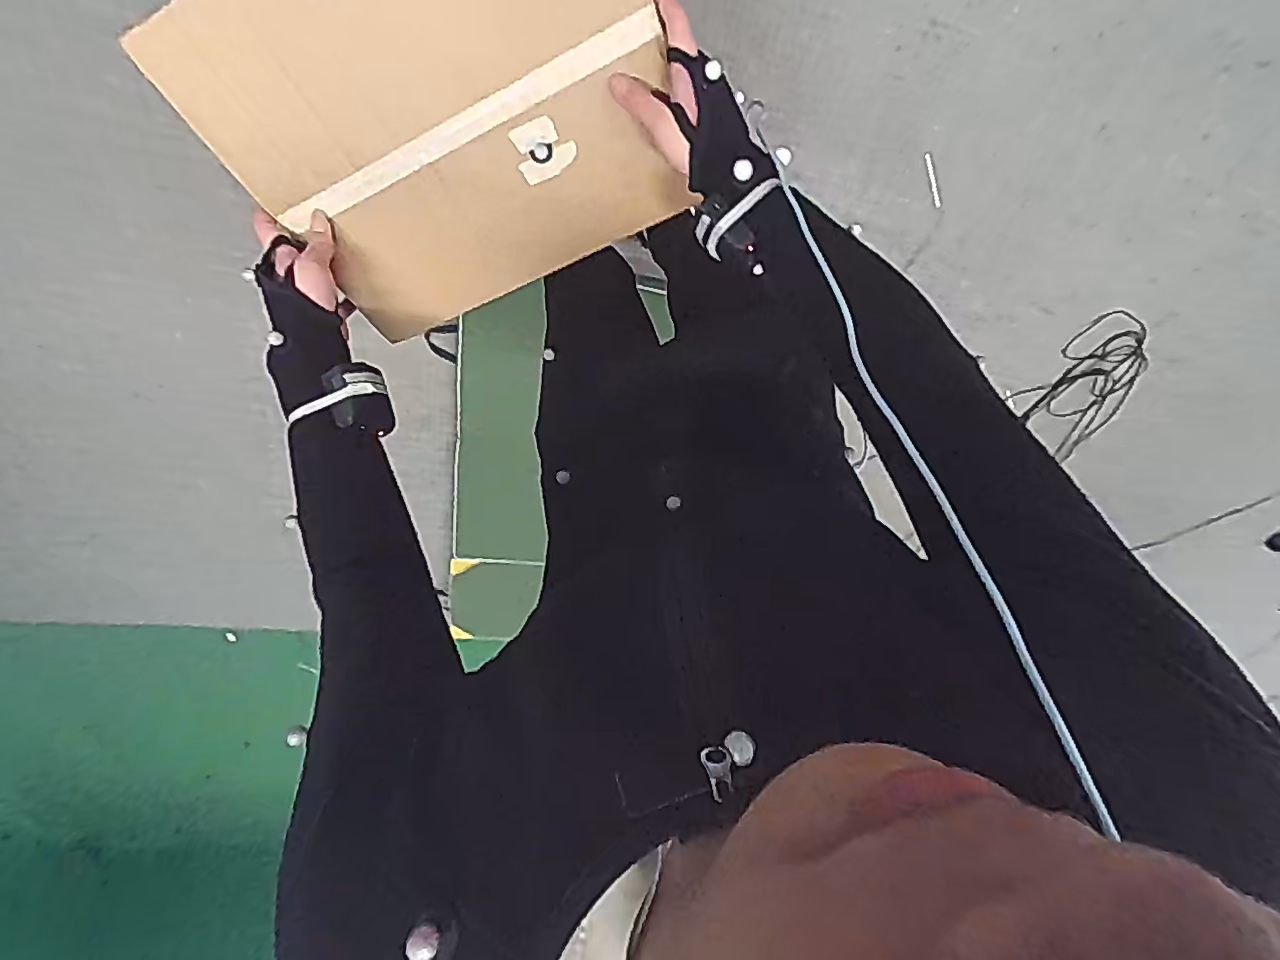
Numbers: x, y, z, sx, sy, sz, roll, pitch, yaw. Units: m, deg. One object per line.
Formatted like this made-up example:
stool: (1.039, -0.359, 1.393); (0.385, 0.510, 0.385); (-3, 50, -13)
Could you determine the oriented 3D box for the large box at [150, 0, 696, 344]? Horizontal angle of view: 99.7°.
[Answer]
large box: (-0.195, -0.432, 0.617); (0.408, 0.320, 0.320); (-21, 135, 12)
